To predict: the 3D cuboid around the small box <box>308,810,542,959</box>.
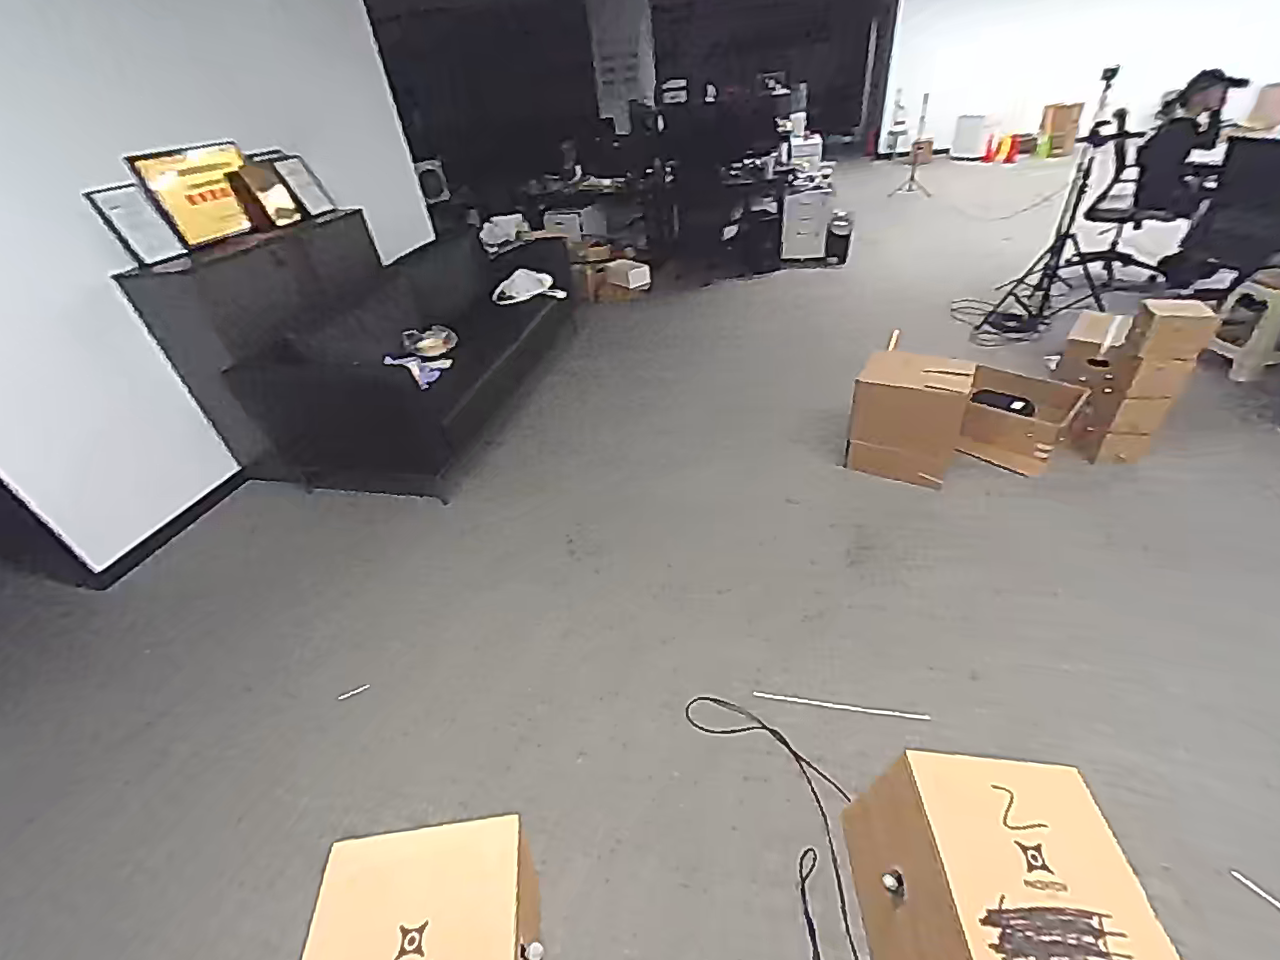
[{"bbox_3d":[-0.178,0.428,0.476,0.168,0.176,0.179,-4,38,-7],"label":"small box"}]
